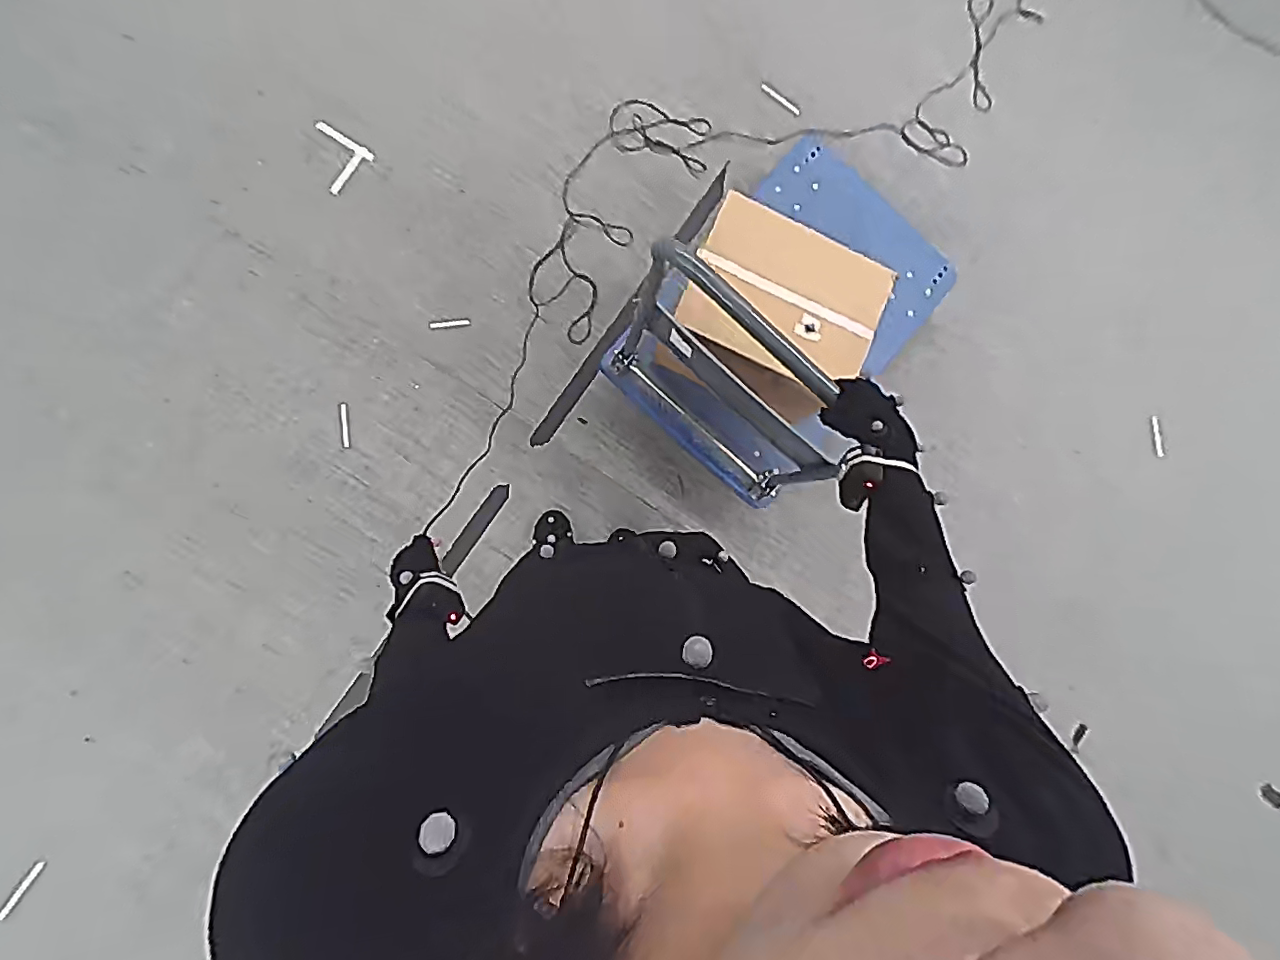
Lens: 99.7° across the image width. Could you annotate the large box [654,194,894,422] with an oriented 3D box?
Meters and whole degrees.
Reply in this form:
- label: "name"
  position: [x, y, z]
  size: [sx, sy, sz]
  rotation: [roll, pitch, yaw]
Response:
- label: "large box"
  position: [0.288, -0.373, 1.271]
  size: [0.408, 0.320, 0.320]
  rotation: [24, 85, -5]
